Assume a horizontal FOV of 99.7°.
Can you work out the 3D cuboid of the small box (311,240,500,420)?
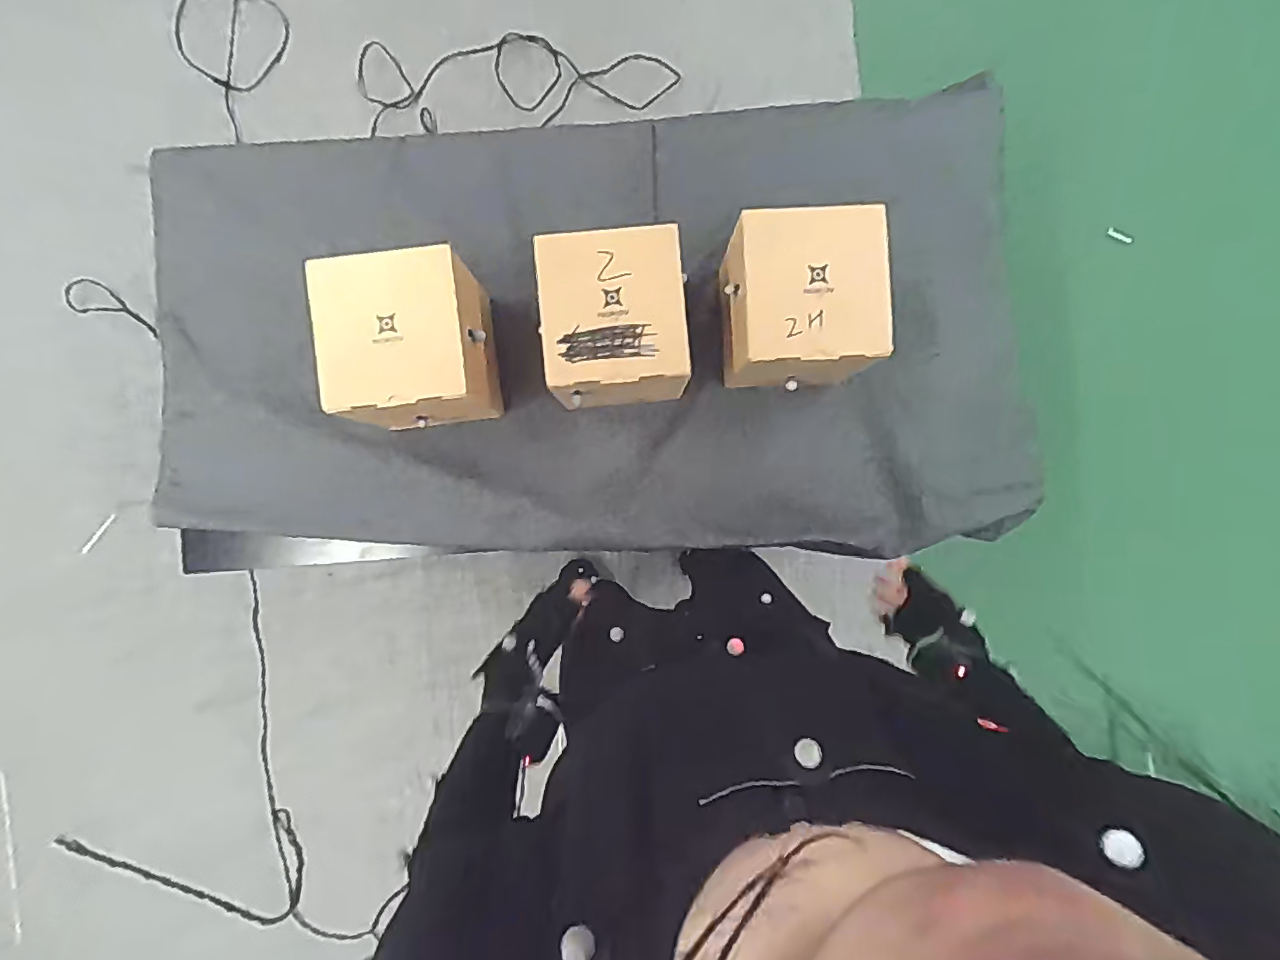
[{"bbox_3d":[-0.287,-0.180,0.696,0.168,0.176,0.179,-7,90,-1],"label":"small box"}]
